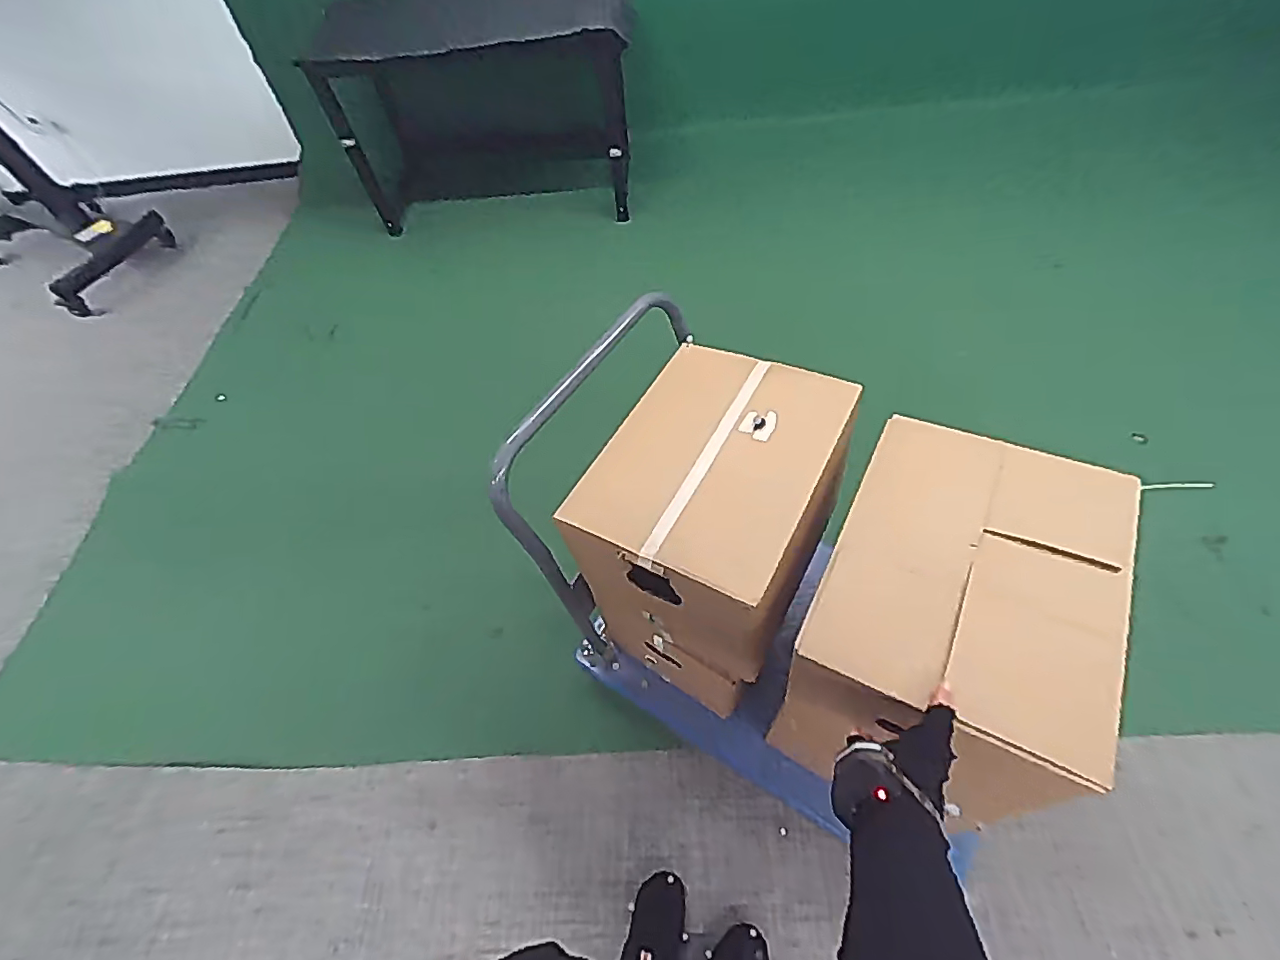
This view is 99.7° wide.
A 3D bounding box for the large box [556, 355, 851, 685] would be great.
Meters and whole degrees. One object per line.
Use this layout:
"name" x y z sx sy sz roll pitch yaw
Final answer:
"large box" 0.125 0.058 0.916 0.320 0.320 0.408 21 59 25
